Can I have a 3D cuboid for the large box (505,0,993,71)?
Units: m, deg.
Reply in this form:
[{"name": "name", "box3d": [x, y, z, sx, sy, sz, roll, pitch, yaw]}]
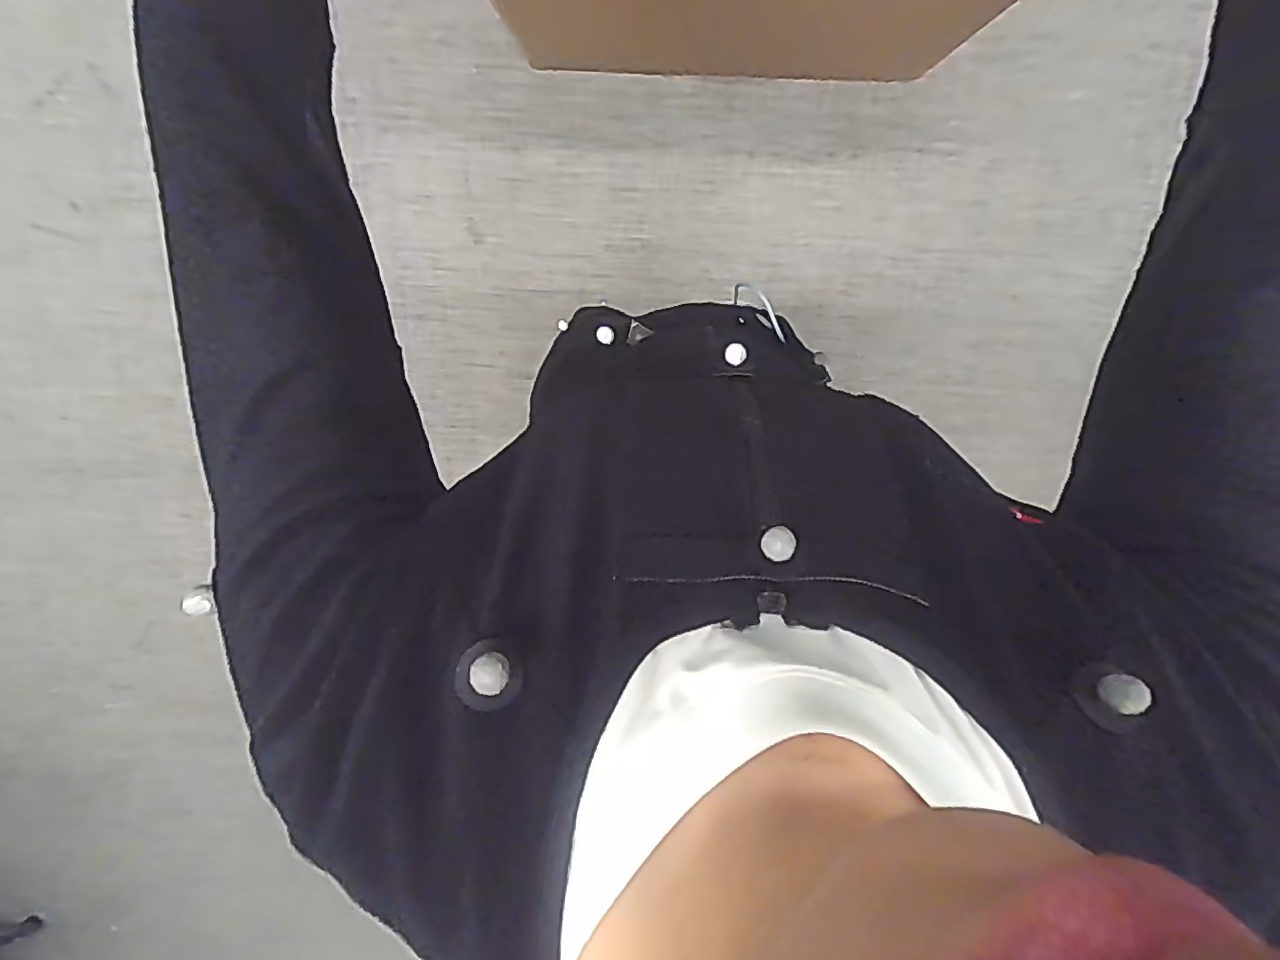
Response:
[{"name": "large box", "box3d": [0.087, -0.521, 0.374, 0.408, 0.320, 0.320, 1, 111, 0]}]
